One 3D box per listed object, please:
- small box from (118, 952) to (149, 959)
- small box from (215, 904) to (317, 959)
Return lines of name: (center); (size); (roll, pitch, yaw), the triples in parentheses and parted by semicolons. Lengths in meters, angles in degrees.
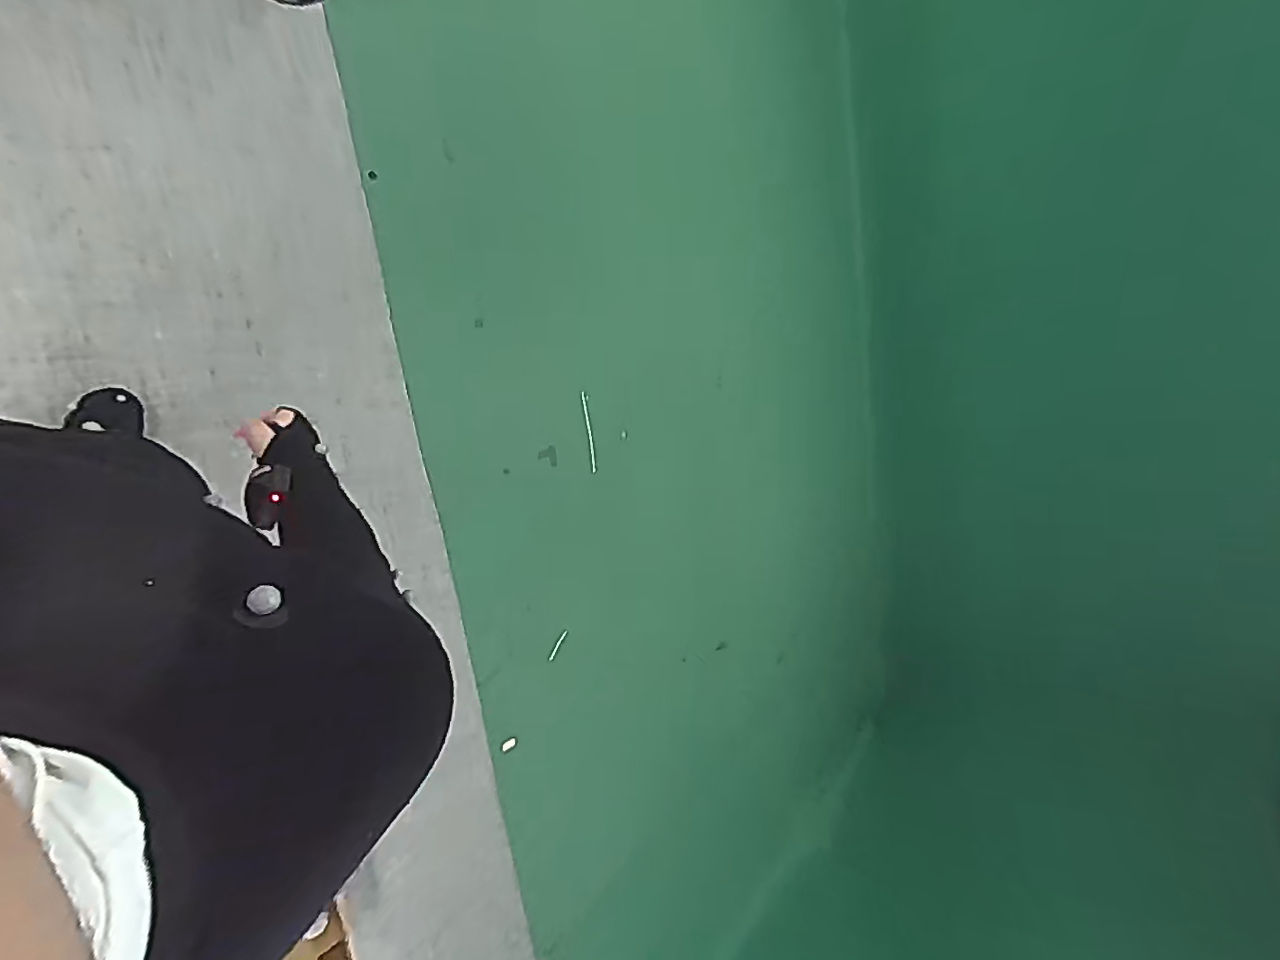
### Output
small box: (-1.133, 1.164, 1.145); (0.168, 0.176, 0.179); (-19, 106, -43)
small box: (-0.828, 1.118, 1.208); (0.168, 0.176, 0.179); (-10, 101, -44)
